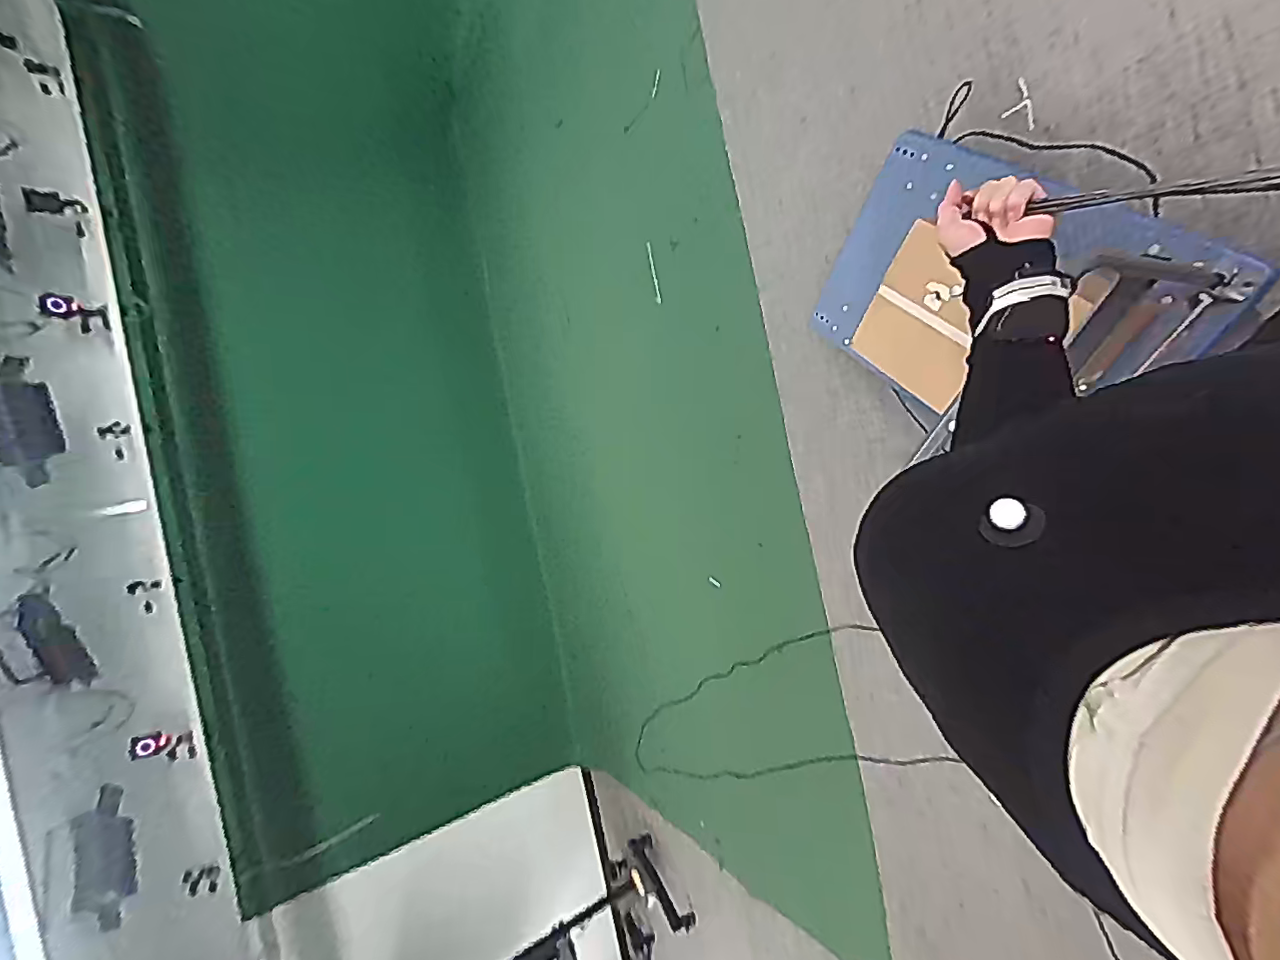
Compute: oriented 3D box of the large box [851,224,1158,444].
[{"bbox_3d":[0.777,-0.332,1.203,0.408,0.320,0.320,55,141,36],"label":"large box"}]
